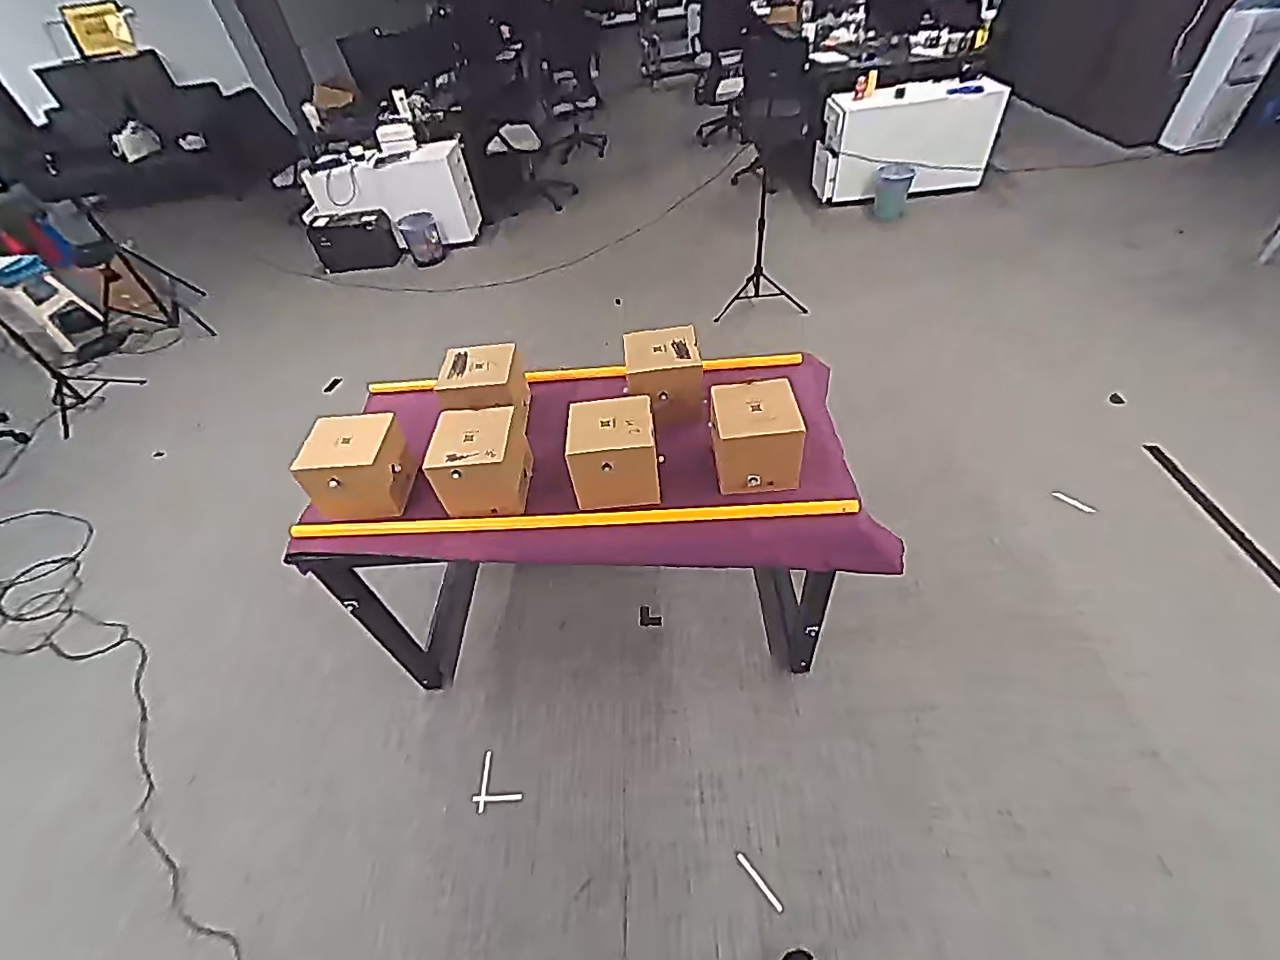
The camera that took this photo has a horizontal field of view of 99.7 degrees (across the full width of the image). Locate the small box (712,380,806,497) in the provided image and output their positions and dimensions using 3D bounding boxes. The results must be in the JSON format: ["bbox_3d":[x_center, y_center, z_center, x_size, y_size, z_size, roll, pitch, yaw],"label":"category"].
[{"bbox_3d":[0.242,-0.086,1.139,0.168,0.176,0.179,-6,44,5],"label":"small box"}]

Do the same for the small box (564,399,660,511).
[{"bbox_3d":[-0.054,-0.049,1.149,0.179,0.176,0.168,-5,44,3],"label":"small box"}]

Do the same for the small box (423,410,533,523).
[{"bbox_3d":[-0.339,-0.029,1.173,0.168,0.176,0.179,-5,46,5],"label":"small box"}]

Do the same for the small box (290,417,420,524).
[{"bbox_3d":[-0.617,-0.018,1.201,0.179,0.176,0.168,-5,46,3],"label":"small box"}]

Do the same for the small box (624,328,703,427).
[{"bbox_3d":[0.059,-0.244,1.319,0.179,0.176,0.168,-7,47,3],"label":"small box"}]
